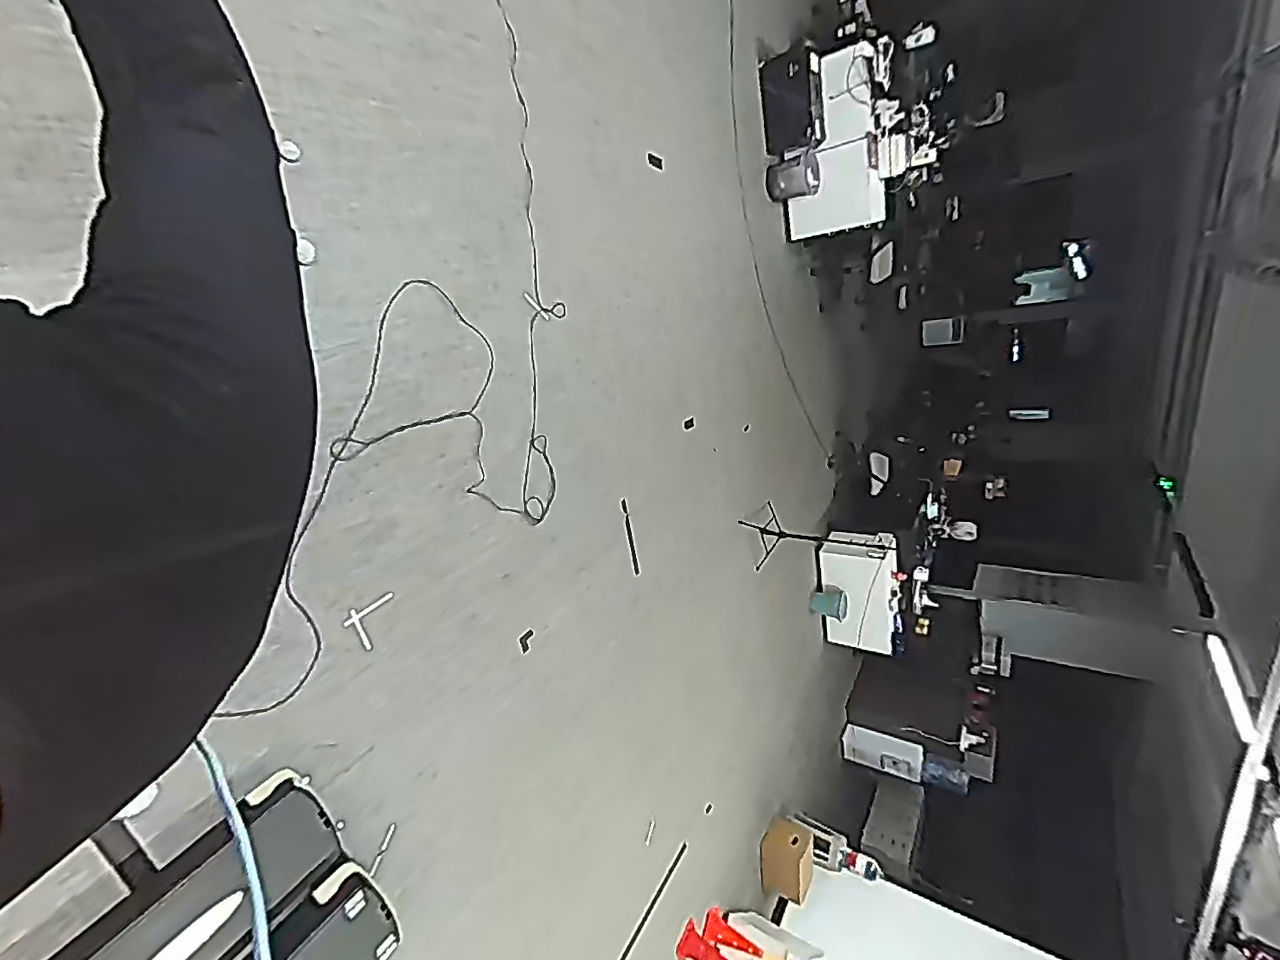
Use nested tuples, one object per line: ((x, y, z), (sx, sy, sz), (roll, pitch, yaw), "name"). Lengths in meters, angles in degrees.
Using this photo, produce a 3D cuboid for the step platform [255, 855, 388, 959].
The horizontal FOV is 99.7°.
((-0.954, 1.290, 1.261), (0.684, 0.204, 0.286), (-38, 123, -45), "step platform")
